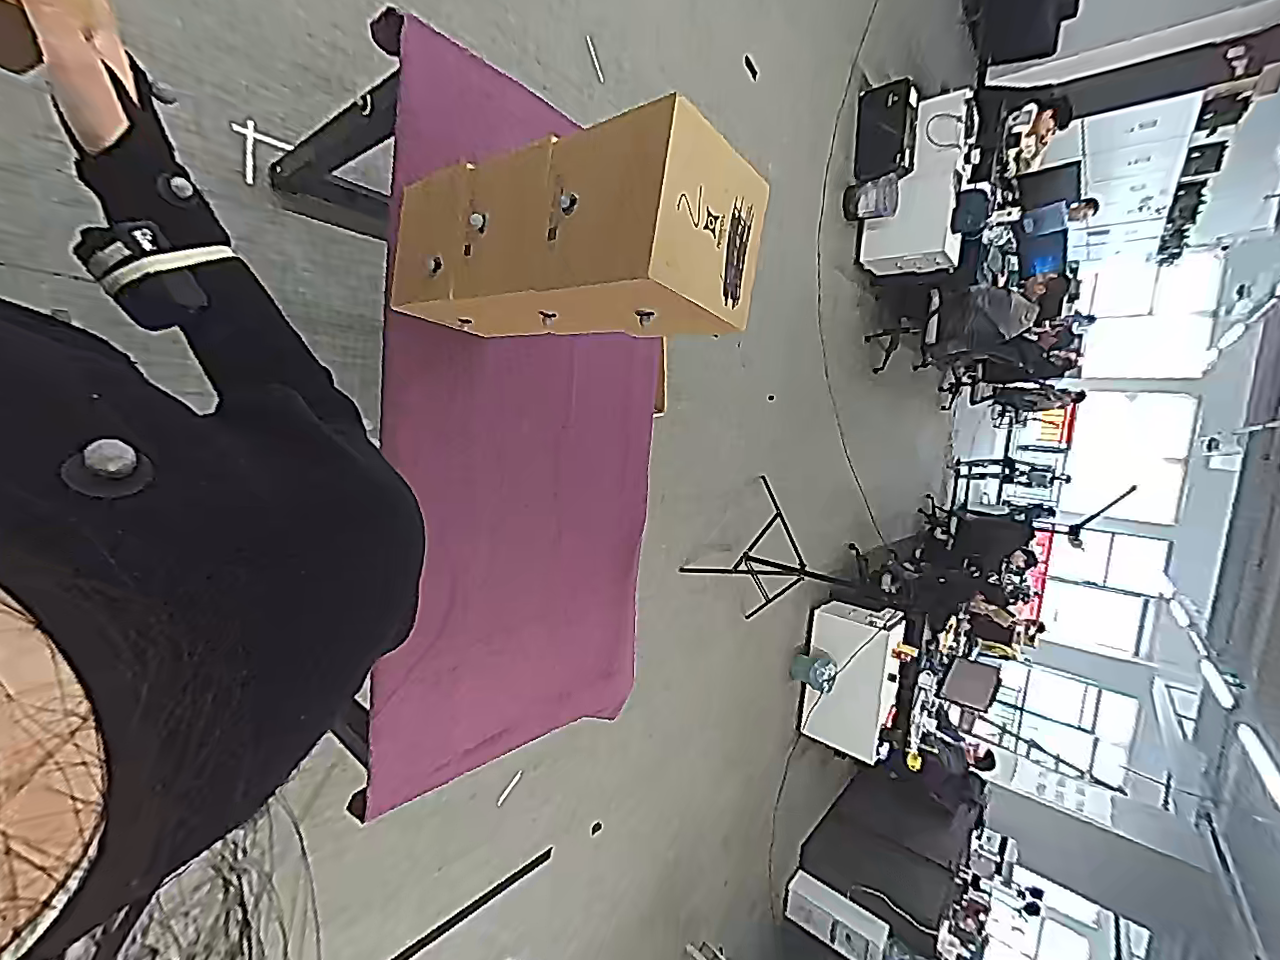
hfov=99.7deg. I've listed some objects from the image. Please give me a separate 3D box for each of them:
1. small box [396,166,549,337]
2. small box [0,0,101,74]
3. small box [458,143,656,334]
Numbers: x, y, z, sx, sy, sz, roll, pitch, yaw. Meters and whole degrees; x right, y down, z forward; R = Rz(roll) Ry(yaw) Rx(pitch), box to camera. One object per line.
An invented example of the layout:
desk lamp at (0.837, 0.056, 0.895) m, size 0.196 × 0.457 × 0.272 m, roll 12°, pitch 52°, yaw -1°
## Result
small box at (-0.236, -0.316, 0.794) m, size 0.168 × 0.176 × 0.179 m, roll 5°, pitch 93°, yaw -51°
small box at (-0.426, -0.373, 0.299) m, size 0.168 × 0.176 × 0.179 m, roll 6°, pitch 99°, yaw -59°
small box at (-0.106, -0.290, 0.696) m, size 0.179 × 0.176 × 0.168 m, roll 4°, pitch 95°, yaw -49°
